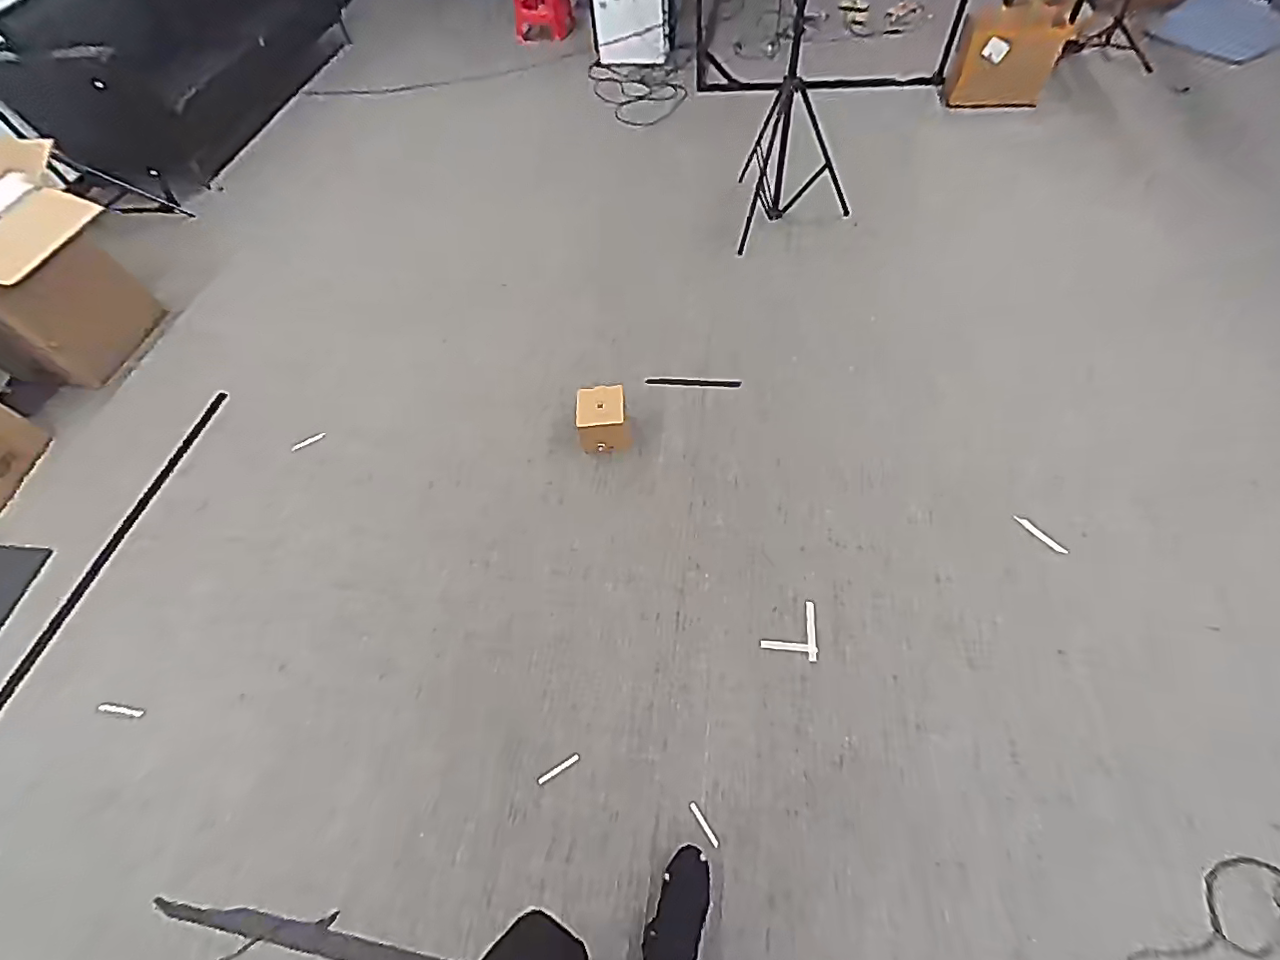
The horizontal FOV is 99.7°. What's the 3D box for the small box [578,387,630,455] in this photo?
[{"bbox_3d":[-0.126,-0.212,1.948,0.168,0.176,0.179,-5,57,4],"label":"small box"}]
